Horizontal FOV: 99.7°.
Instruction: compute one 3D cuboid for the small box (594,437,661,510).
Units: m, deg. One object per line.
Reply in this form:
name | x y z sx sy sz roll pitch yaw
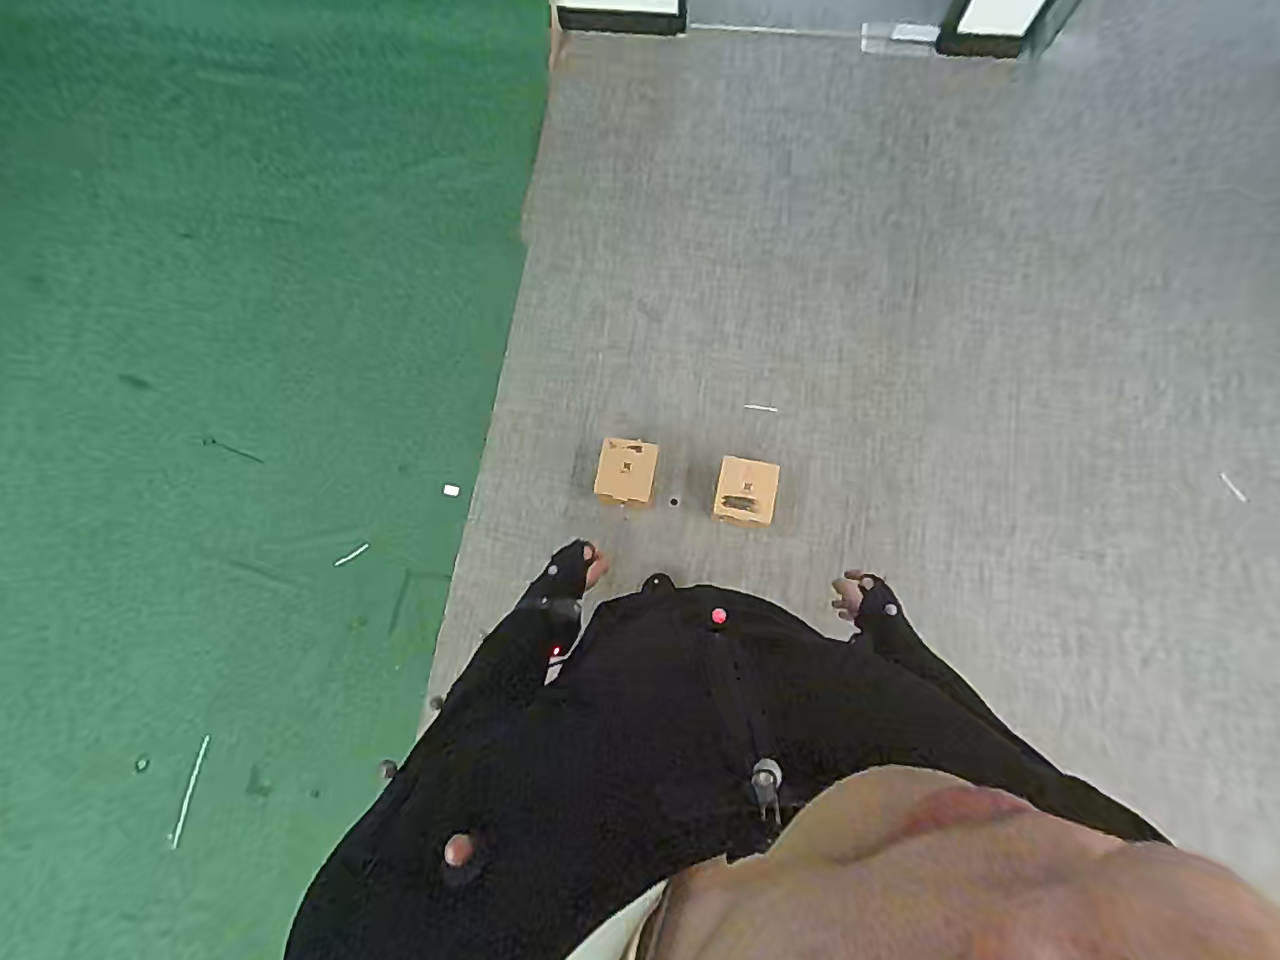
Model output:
small box | -0.032 -0.014 1.630 0.168 0.176 0.179 11 80 6
